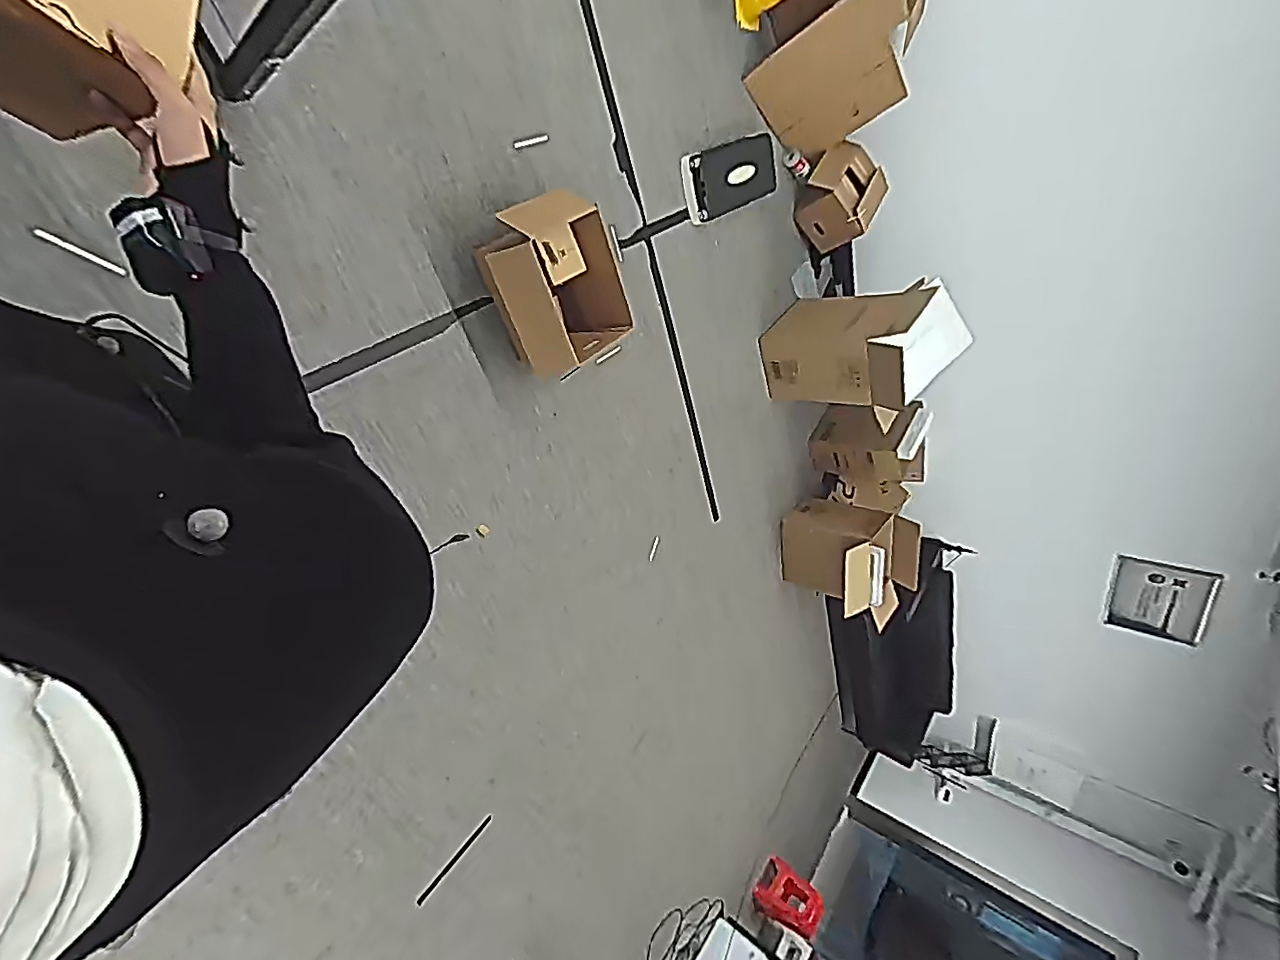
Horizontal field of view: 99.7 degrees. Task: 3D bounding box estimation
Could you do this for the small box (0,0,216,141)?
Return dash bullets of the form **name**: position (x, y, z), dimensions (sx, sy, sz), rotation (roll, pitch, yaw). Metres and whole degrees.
- **small box**: position (-0.481, -0.408, 0.423), dimensions (0.168, 0.176, 0.179), rotation (21, 70, -73)
